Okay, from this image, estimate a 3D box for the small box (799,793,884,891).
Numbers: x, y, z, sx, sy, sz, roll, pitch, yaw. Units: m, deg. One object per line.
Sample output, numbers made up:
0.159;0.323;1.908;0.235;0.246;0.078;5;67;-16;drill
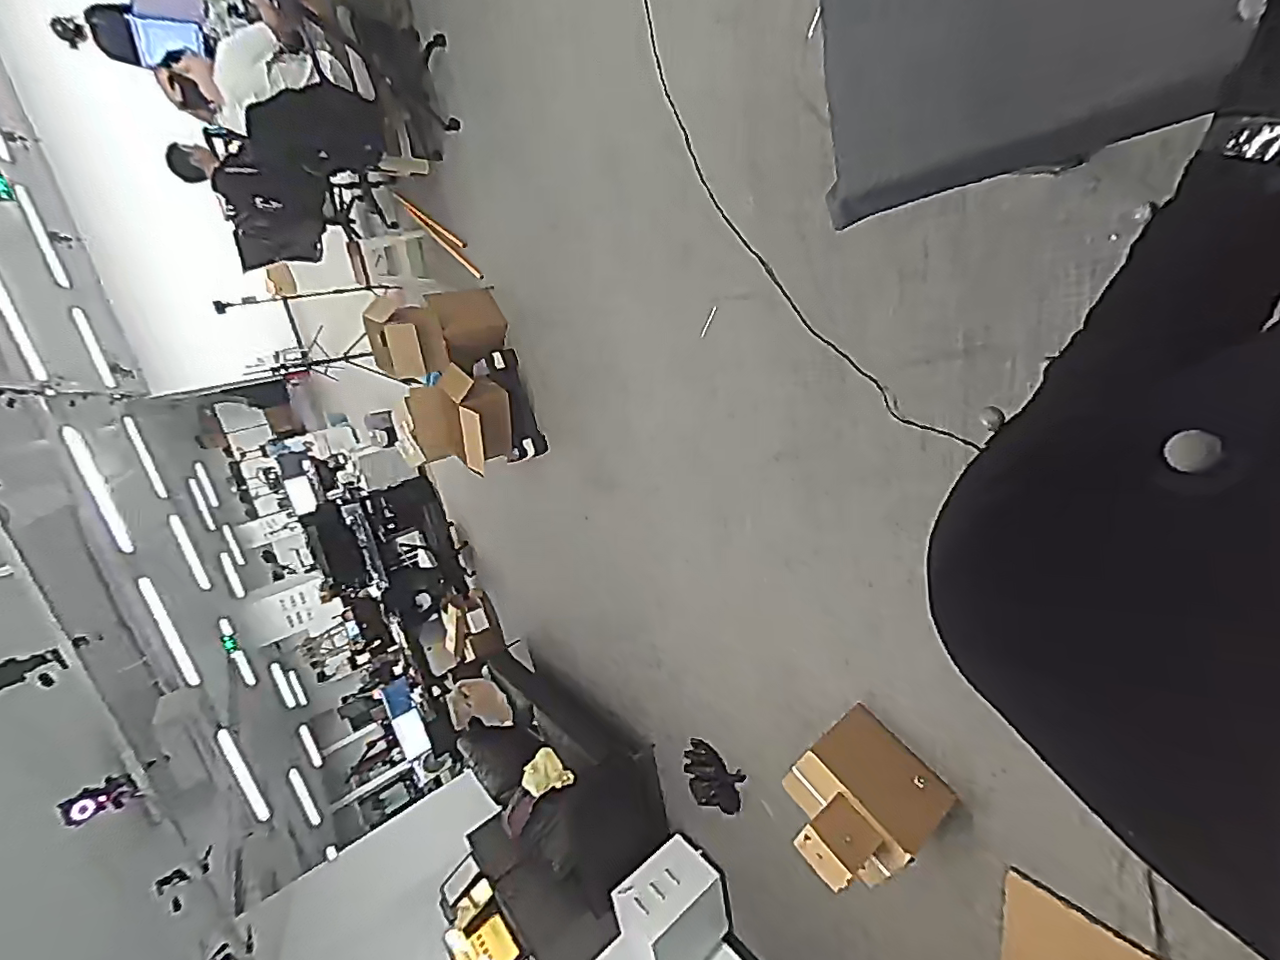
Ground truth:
0.652;1.166;1.748;0.179;0.176;0.168;40;139;38;small box
